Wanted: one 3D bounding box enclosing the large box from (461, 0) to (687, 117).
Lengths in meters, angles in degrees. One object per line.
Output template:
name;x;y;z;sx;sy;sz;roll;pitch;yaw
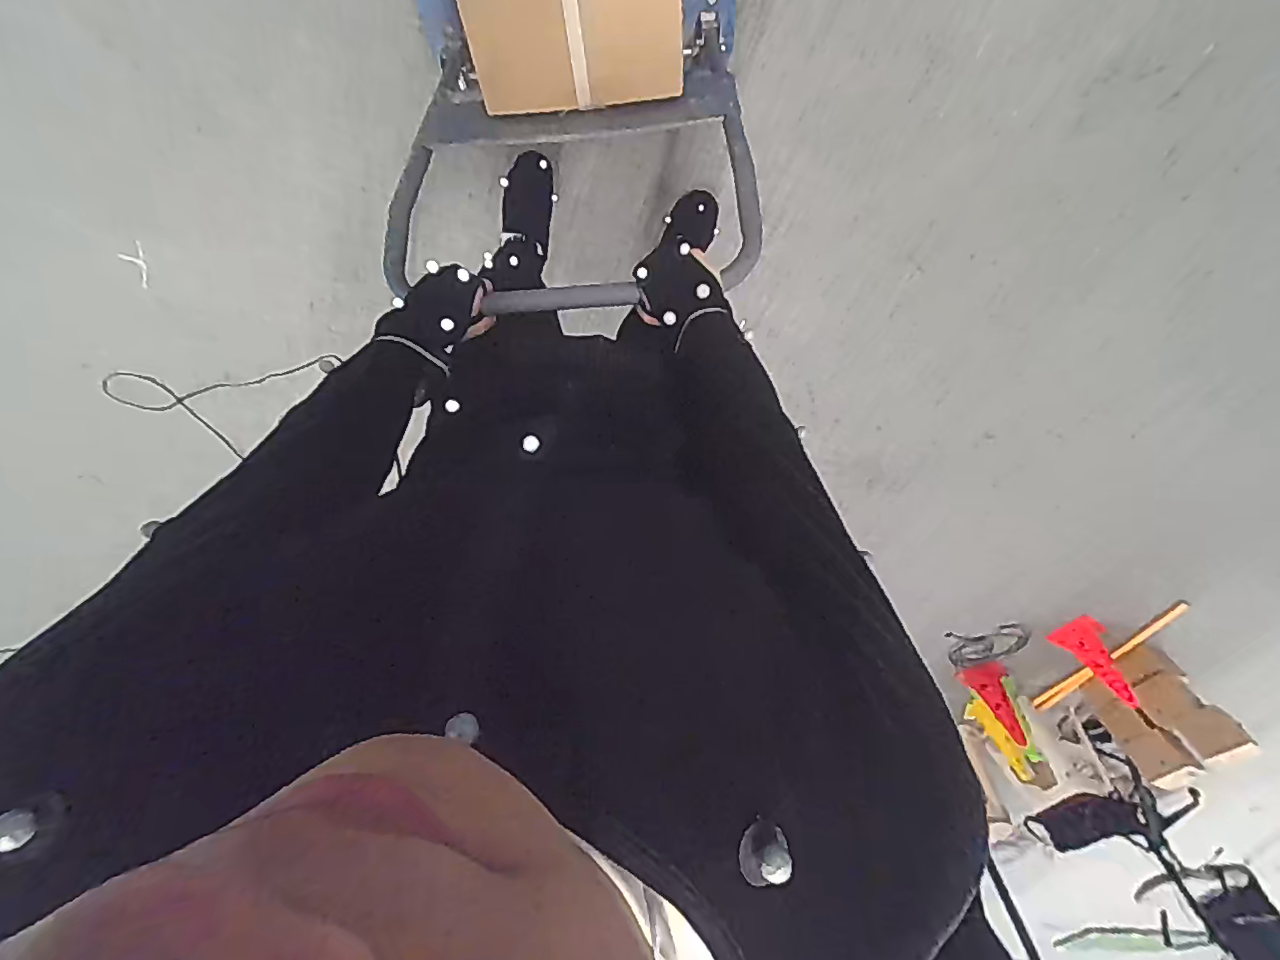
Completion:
large box;-0.101;-0.826;0.785;0.320;0.320;0.408;-4;143;4
